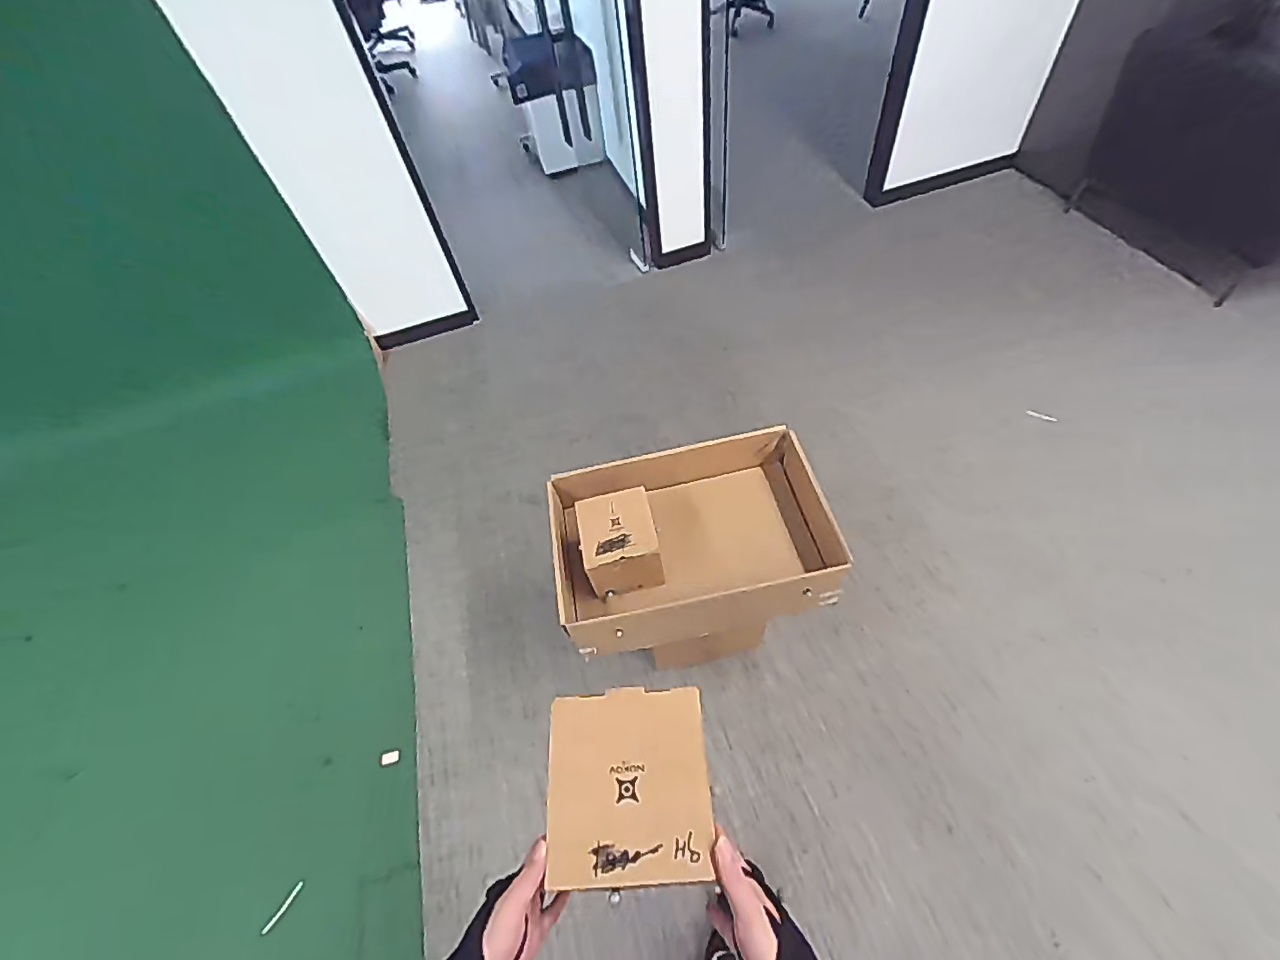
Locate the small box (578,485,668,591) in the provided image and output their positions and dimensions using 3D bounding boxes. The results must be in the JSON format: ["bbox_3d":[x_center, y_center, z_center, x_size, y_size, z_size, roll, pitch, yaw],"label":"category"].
[{"bbox_3d":[-0.037,0.142,1.254,0.168,0.176,0.179,-13,54,0],"label":"small box"}]

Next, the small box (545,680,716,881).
[{"bbox_3d":[-0.005,0.350,0.625,0.168,0.176,0.179,-7,53,4],"label":"small box"}]
